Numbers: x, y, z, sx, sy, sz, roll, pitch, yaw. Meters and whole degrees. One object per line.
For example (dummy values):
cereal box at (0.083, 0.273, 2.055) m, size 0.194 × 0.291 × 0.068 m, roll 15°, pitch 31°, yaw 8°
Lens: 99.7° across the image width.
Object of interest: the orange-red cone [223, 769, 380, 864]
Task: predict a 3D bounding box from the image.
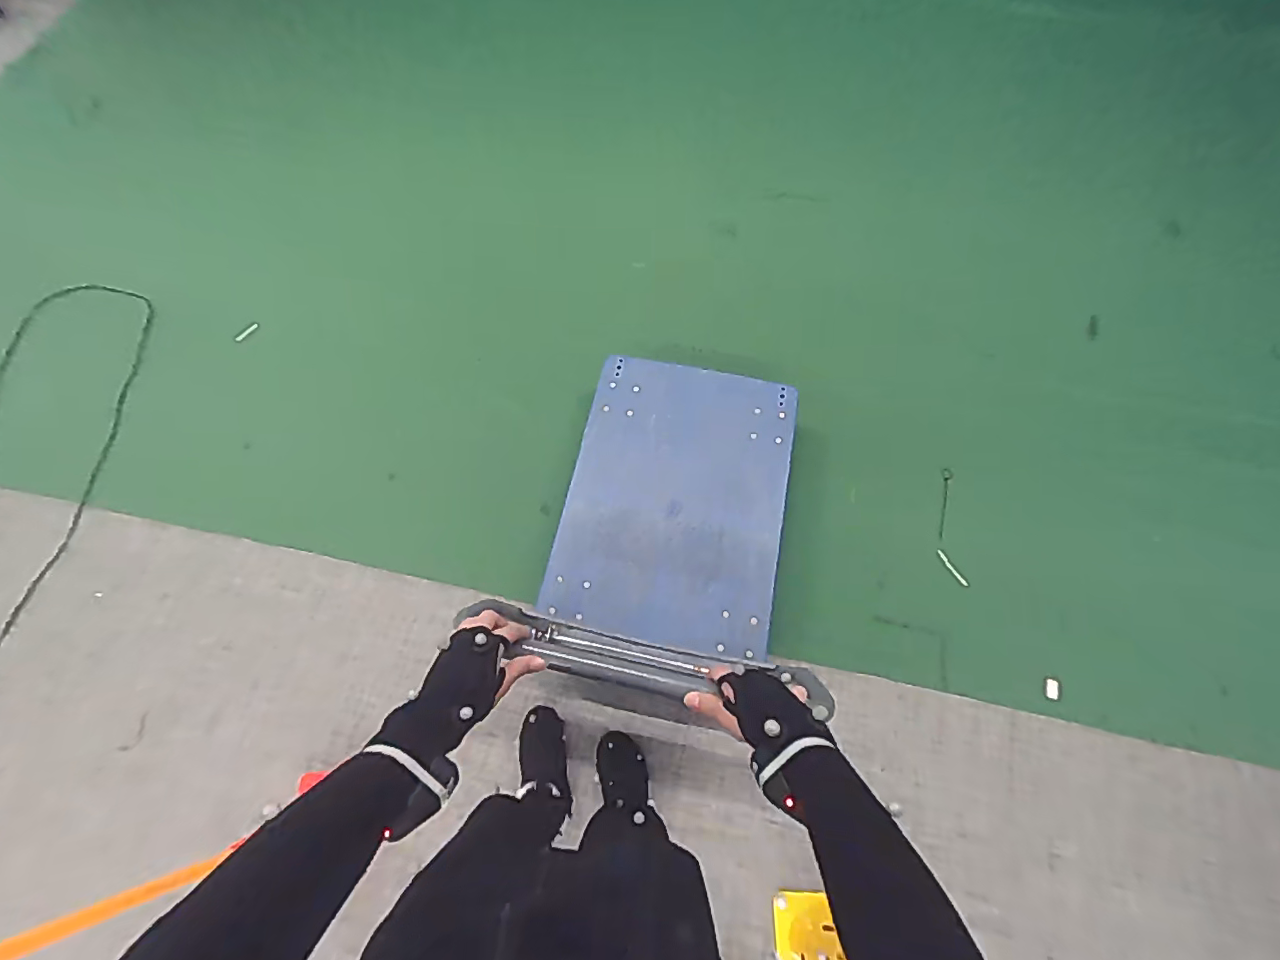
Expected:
orange-red cone at (-0.758, 0.764, 1.174) m, size 0.199 × 0.360 × 0.198 m, roll -3°, pitch 68°, yaw 1°
